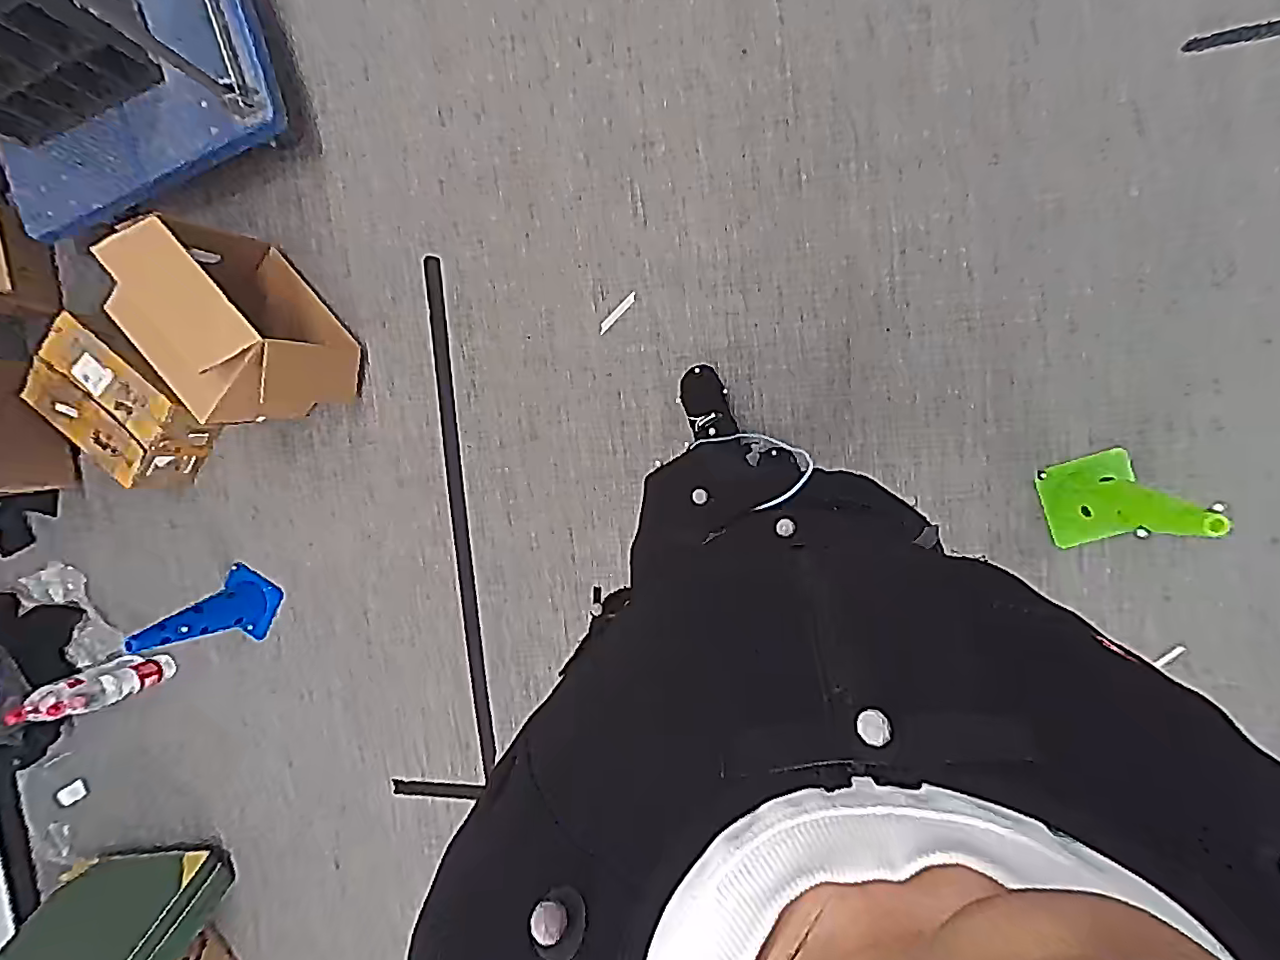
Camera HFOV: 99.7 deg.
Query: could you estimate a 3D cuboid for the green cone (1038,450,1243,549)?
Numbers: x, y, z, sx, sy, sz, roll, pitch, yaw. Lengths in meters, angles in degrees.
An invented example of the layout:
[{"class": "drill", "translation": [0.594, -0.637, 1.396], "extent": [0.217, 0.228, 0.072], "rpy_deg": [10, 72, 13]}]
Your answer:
[{"class": "green cone", "translation": [1.038, 0.065, 1.104], "extent": [0.202, 0.368, 0.200], "rpy_deg": [-20, 92, 11]}]
